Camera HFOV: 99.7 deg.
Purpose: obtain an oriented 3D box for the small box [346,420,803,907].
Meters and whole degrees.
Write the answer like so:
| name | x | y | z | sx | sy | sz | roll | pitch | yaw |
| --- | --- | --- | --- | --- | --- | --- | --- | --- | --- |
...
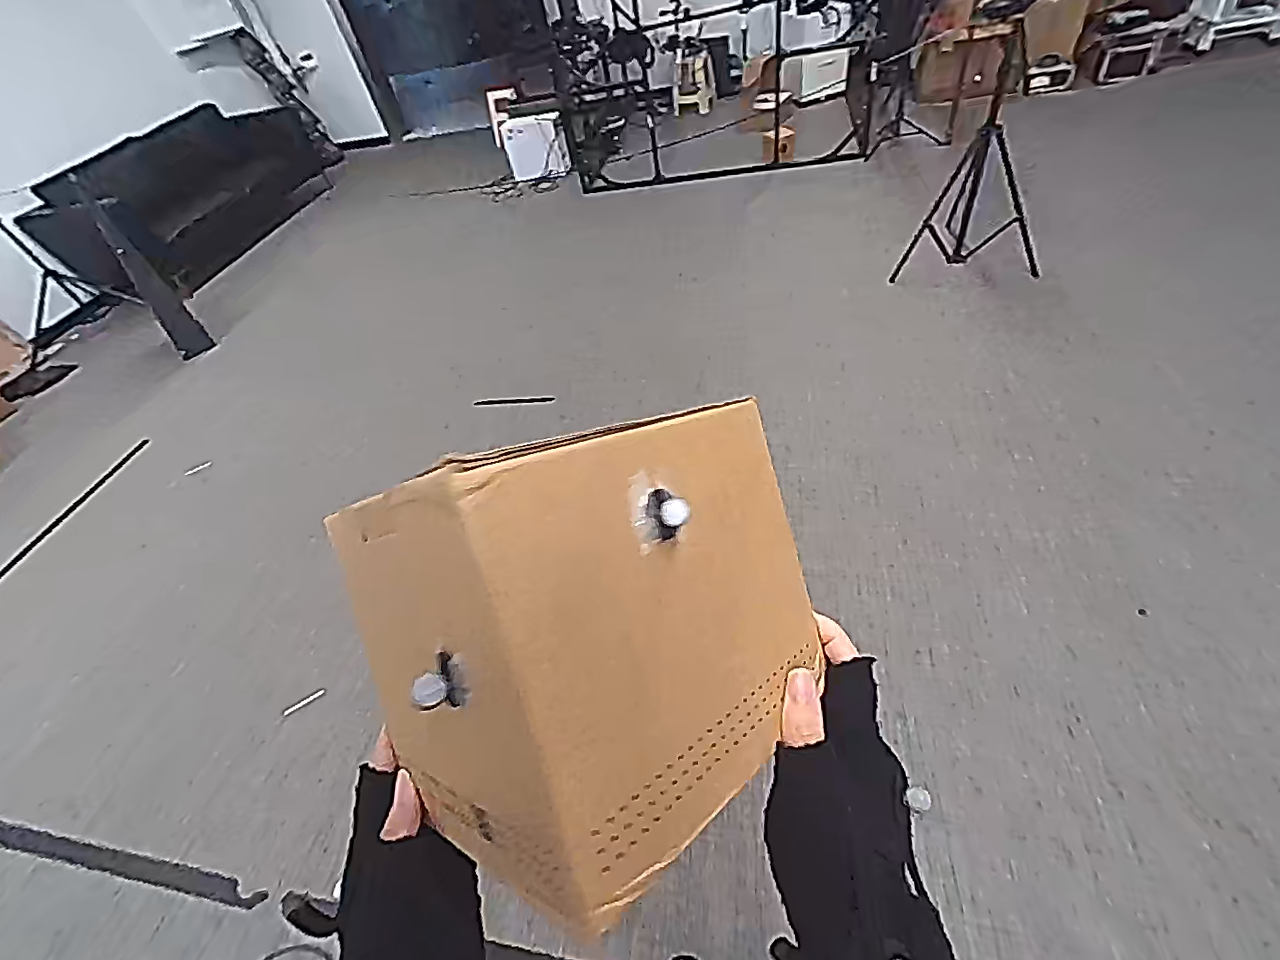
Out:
| name | x | y | z | sx | sy | sz | roll | pitch | yaw |
| --- | --- | --- | --- | --- | --- | --- | --- | --- | --- |
| small box | -0.033 | 0.079 | 0.306 | 0.179 | 0.176 | 0.168 | -18 | 2 | -41 |
